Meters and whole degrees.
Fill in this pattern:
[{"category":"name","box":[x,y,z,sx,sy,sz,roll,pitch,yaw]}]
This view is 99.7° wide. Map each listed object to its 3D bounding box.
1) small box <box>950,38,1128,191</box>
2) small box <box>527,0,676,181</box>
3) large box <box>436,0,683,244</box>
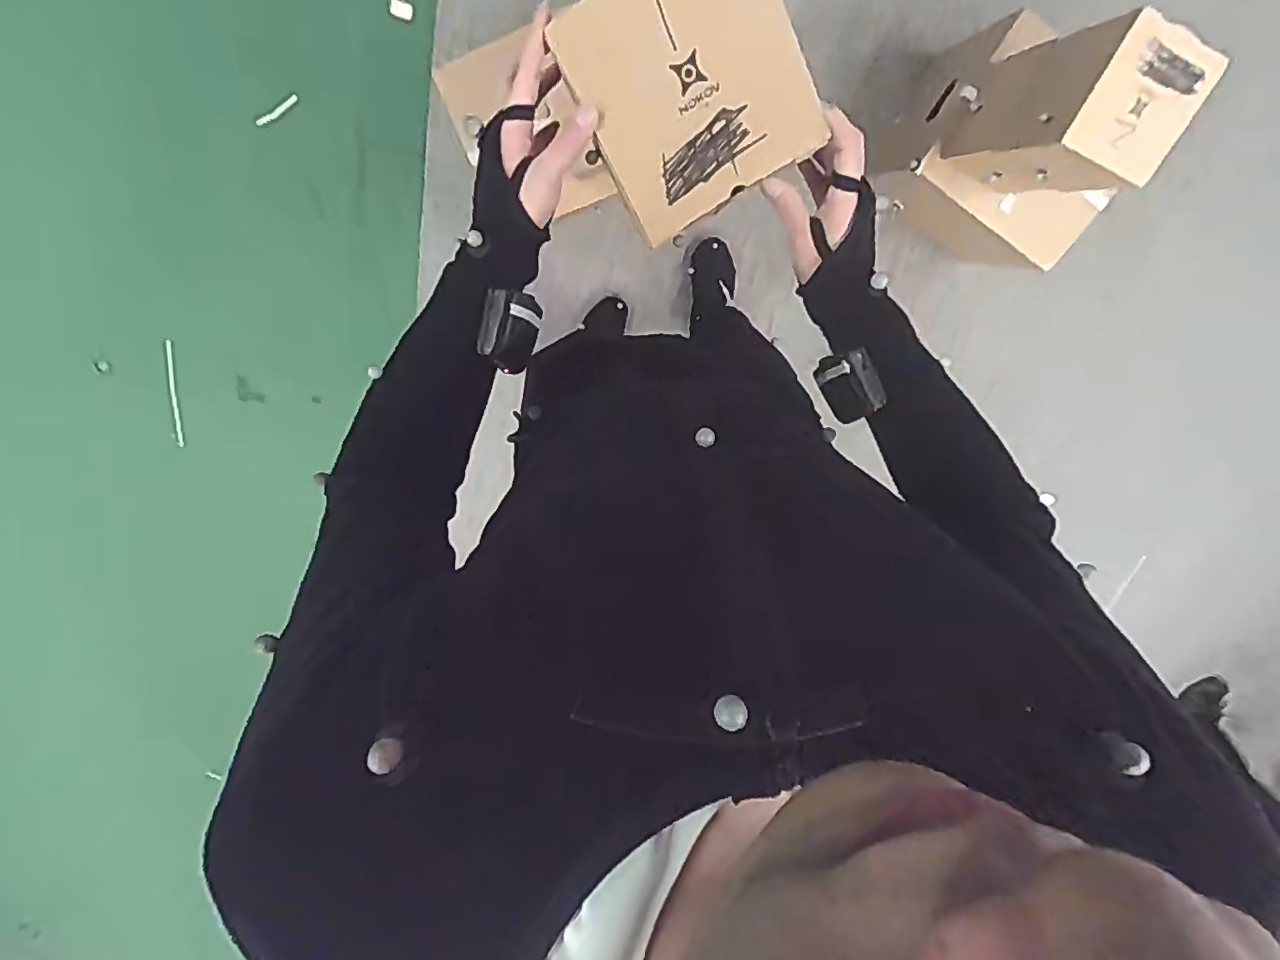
[{"category":"small box","box":[0.716,-0.657,1.001,0.168,0.176,0.179,20,113,-12]},{"category":"small box","box":[-0.054,-0.580,0.822,0.168,0.176,0.179,-18,115,7]},{"category":"large box","box":[-0.154,-0.754,1.188,0.408,0.320,0.320,-20,112,7]}]
